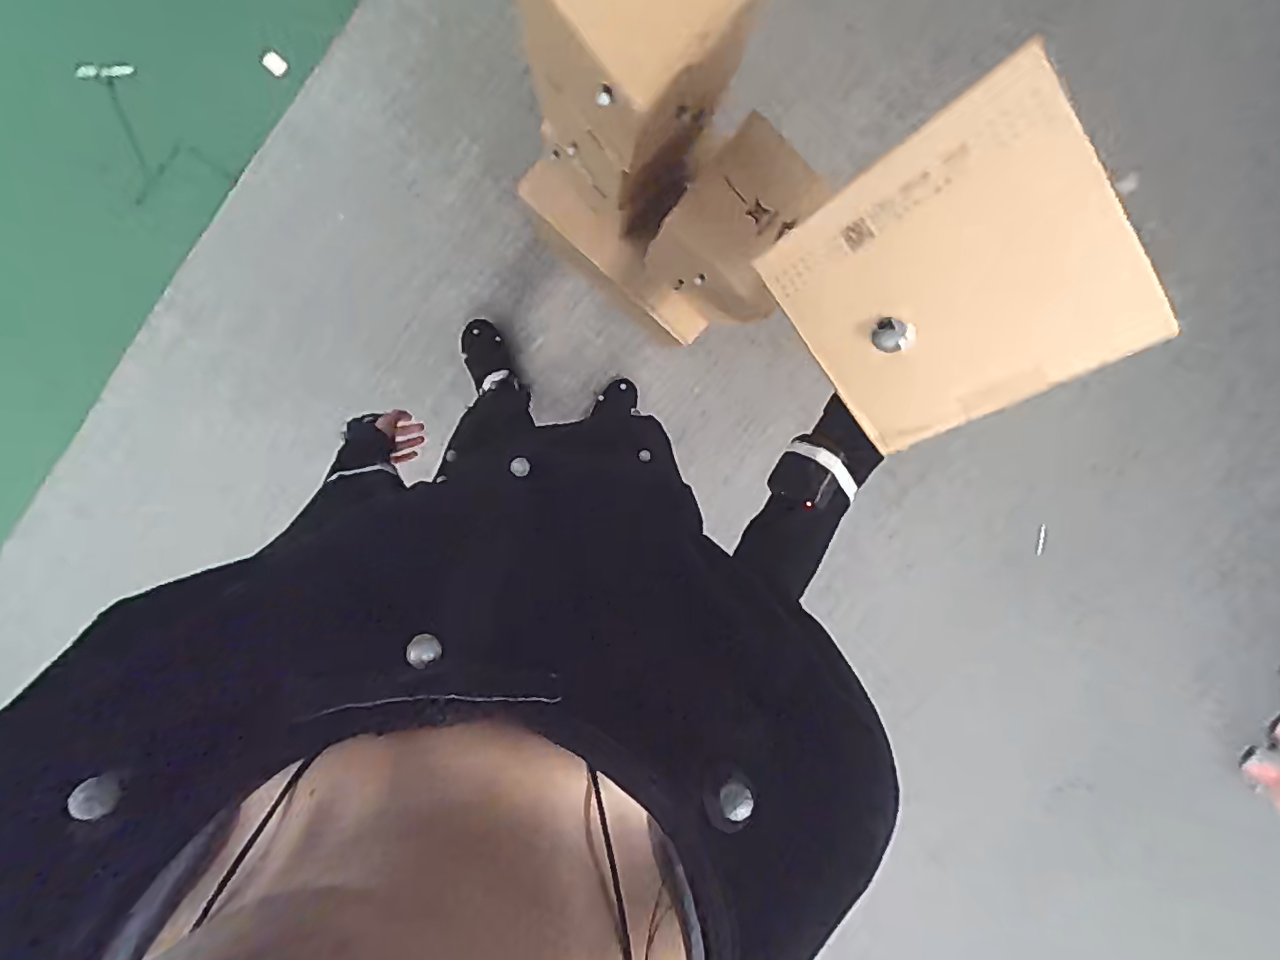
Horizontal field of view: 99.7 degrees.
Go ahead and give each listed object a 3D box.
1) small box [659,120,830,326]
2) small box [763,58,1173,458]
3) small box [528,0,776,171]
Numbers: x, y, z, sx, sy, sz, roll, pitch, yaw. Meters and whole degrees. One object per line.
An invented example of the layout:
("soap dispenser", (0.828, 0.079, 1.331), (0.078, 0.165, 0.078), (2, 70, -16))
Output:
("small box", (0.145, -0.329, 0.737), (0.179, 0.176, 0.168), (40, 97, -9))
("small box", (0.208, -0.152, 0.380), (0.168, 0.179, 0.176), (-29, 107, 38))
("small box", (0.001, -0.453, 0.537), (0.168, 0.176, 0.179), (-43, 103, 6))
